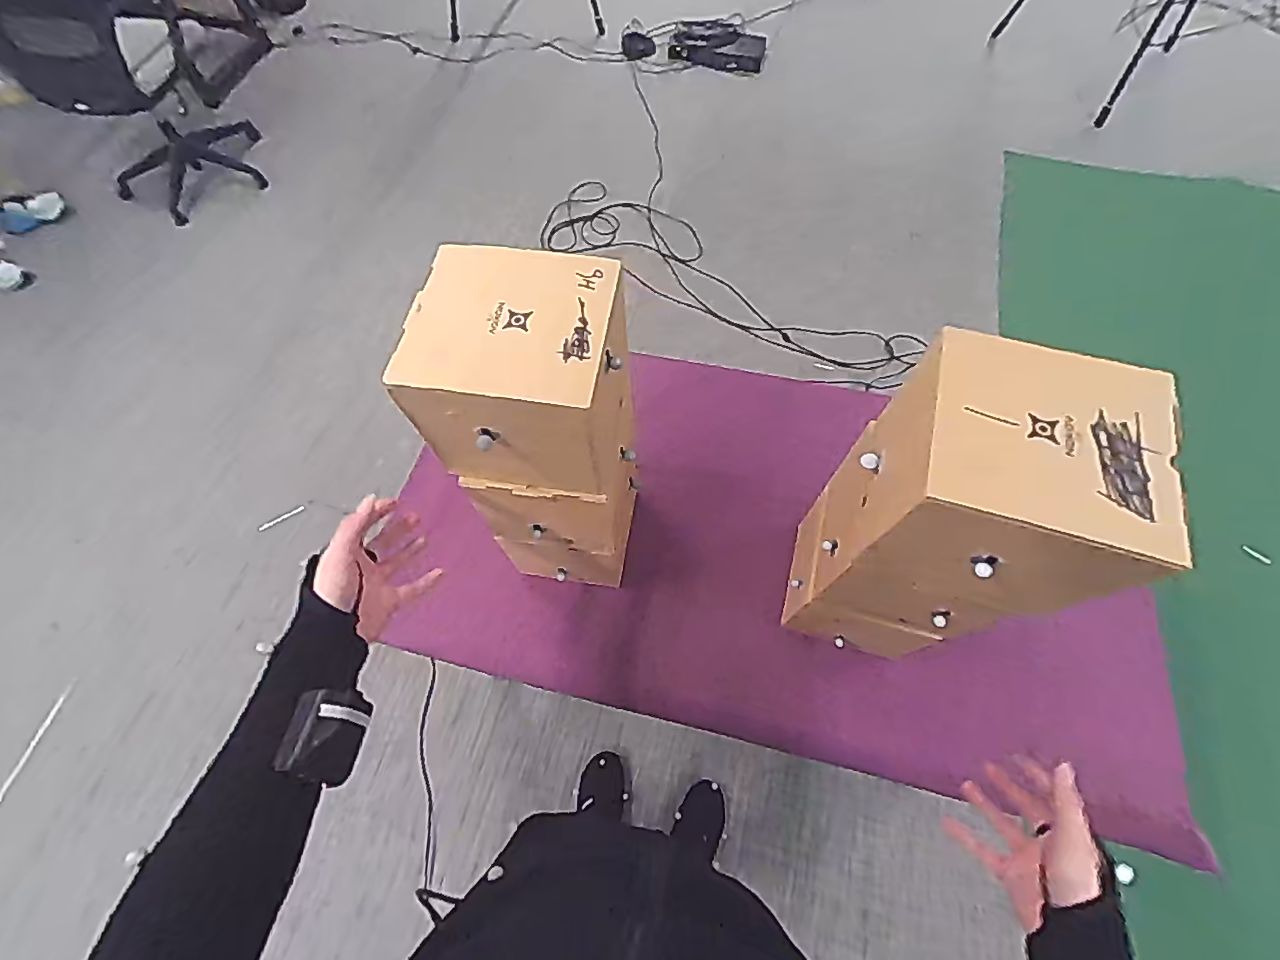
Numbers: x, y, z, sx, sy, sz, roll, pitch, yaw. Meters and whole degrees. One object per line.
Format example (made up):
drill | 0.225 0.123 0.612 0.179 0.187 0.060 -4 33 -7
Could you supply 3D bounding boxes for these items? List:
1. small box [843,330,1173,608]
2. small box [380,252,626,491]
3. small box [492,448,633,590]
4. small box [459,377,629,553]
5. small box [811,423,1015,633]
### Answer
small box | 0.303 0.001 0.478 0.179 0.176 0.168 16 65 10
small box | -0.117 -0.101 0.545 0.179 0.176 0.168 7 64 6
small box | -0.105 0.053 0.832 0.168 0.176 0.179 8 64 6
small box | -0.106 -0.023 0.689 0.168 0.176 0.179 6 64 4
small box | 0.307 0.064 0.629 0.168 0.176 0.179 14 65 9
